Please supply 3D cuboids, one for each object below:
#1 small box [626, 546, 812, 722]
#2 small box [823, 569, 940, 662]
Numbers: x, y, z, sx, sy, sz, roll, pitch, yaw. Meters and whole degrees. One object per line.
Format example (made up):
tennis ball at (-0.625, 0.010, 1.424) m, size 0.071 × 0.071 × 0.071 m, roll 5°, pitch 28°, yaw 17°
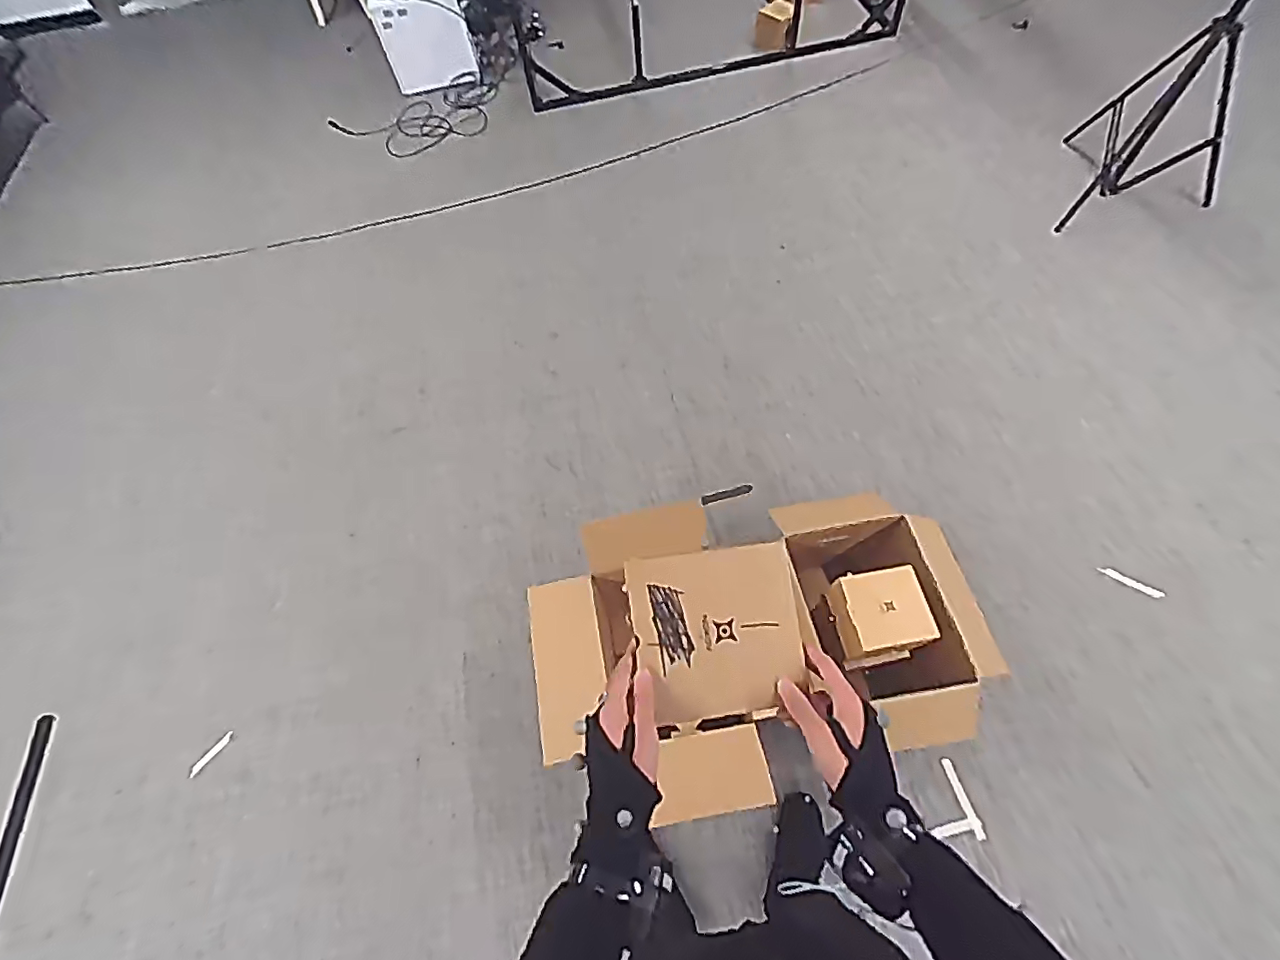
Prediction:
small box at (0.083, 0.173, 0.636) m, size 0.179 × 0.176 × 0.168 m, roll -6°, pitch 79°, yaw 1°
small box at (0.554, 0.321, 1.268) m, size 0.179 × 0.176 × 0.168 m, roll -11°, pitch 64°, yaw -1°
